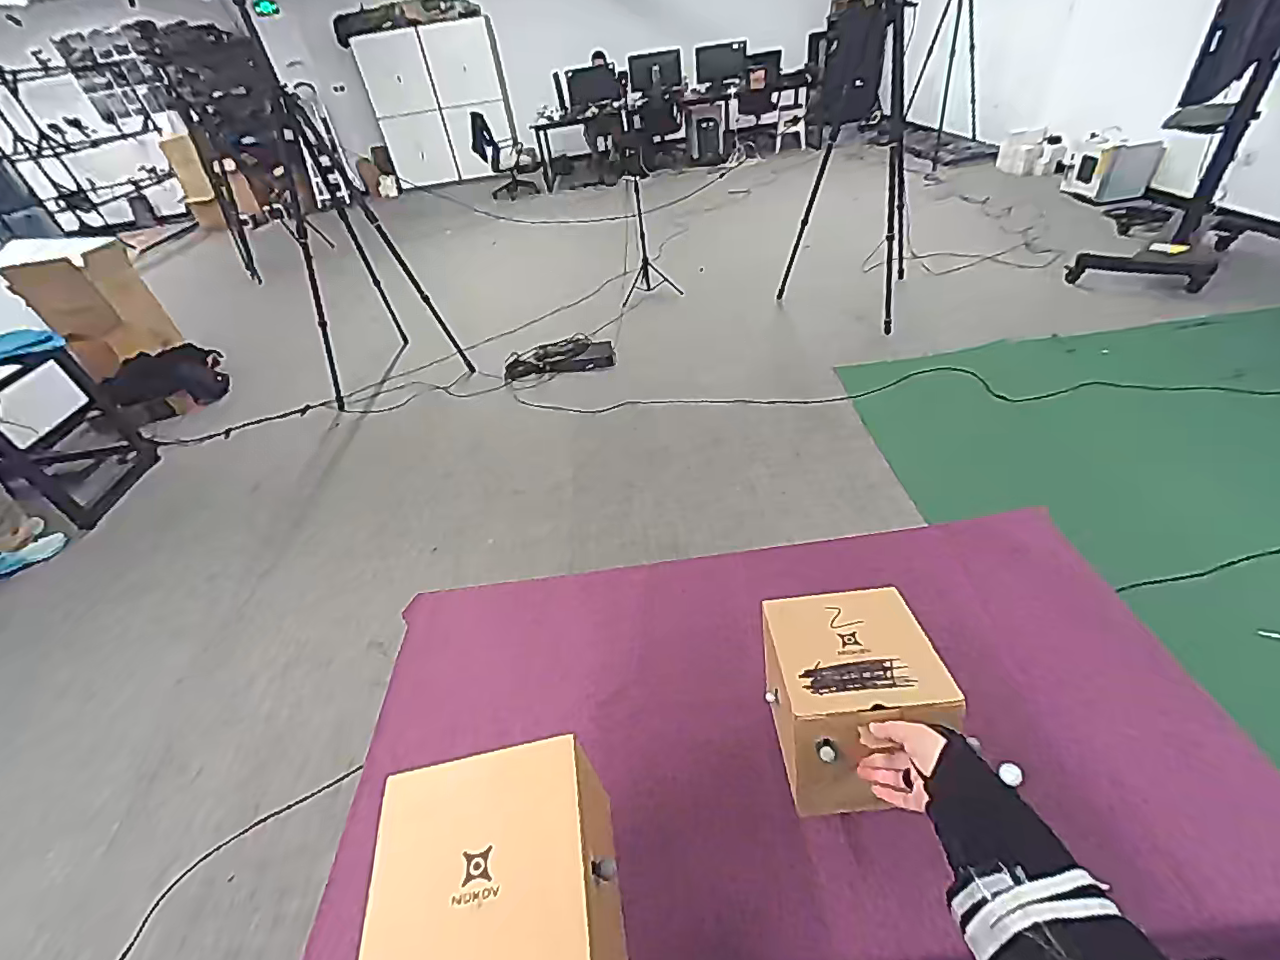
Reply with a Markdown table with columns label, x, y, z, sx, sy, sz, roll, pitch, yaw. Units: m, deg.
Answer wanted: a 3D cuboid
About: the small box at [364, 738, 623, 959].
| label | x | y | z | sx | sy | sz | roll | pitch | yaw |
| --- | --- | --- | --- | --- | --- | --- | --- | --- | --- |
| small box | -0.114 | 0.361 | 0.474 | 0.168 | 0.176 | 0.179 | -13 | 44 | -1 |
